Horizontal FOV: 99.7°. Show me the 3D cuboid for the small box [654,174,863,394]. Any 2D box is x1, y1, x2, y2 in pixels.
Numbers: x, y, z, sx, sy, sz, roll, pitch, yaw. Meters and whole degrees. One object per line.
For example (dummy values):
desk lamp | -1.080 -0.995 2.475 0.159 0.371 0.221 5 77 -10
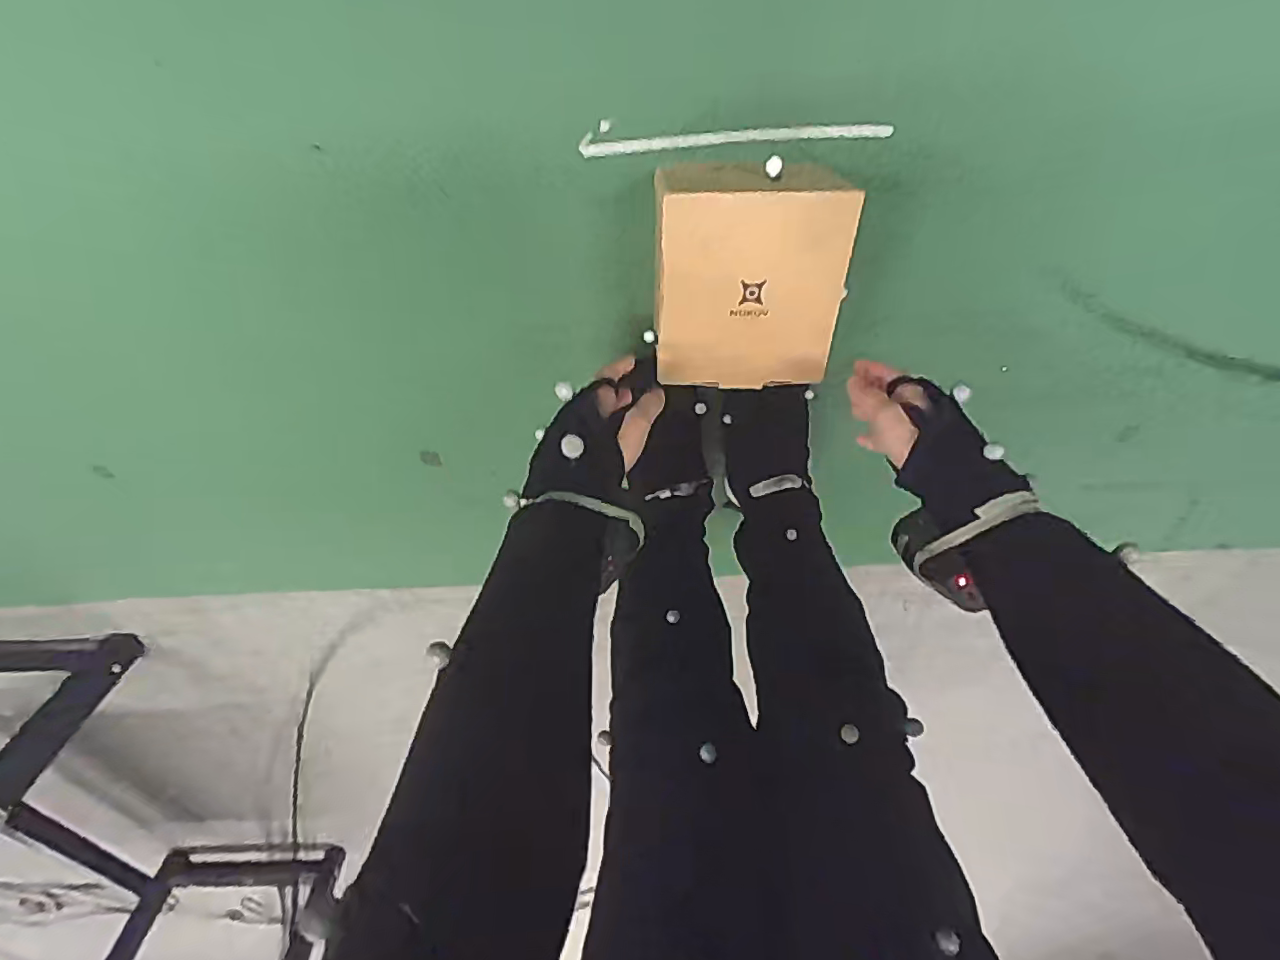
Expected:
small box | 0.100 -0.204 0.552 0.168 0.176 0.179 0 128 0
